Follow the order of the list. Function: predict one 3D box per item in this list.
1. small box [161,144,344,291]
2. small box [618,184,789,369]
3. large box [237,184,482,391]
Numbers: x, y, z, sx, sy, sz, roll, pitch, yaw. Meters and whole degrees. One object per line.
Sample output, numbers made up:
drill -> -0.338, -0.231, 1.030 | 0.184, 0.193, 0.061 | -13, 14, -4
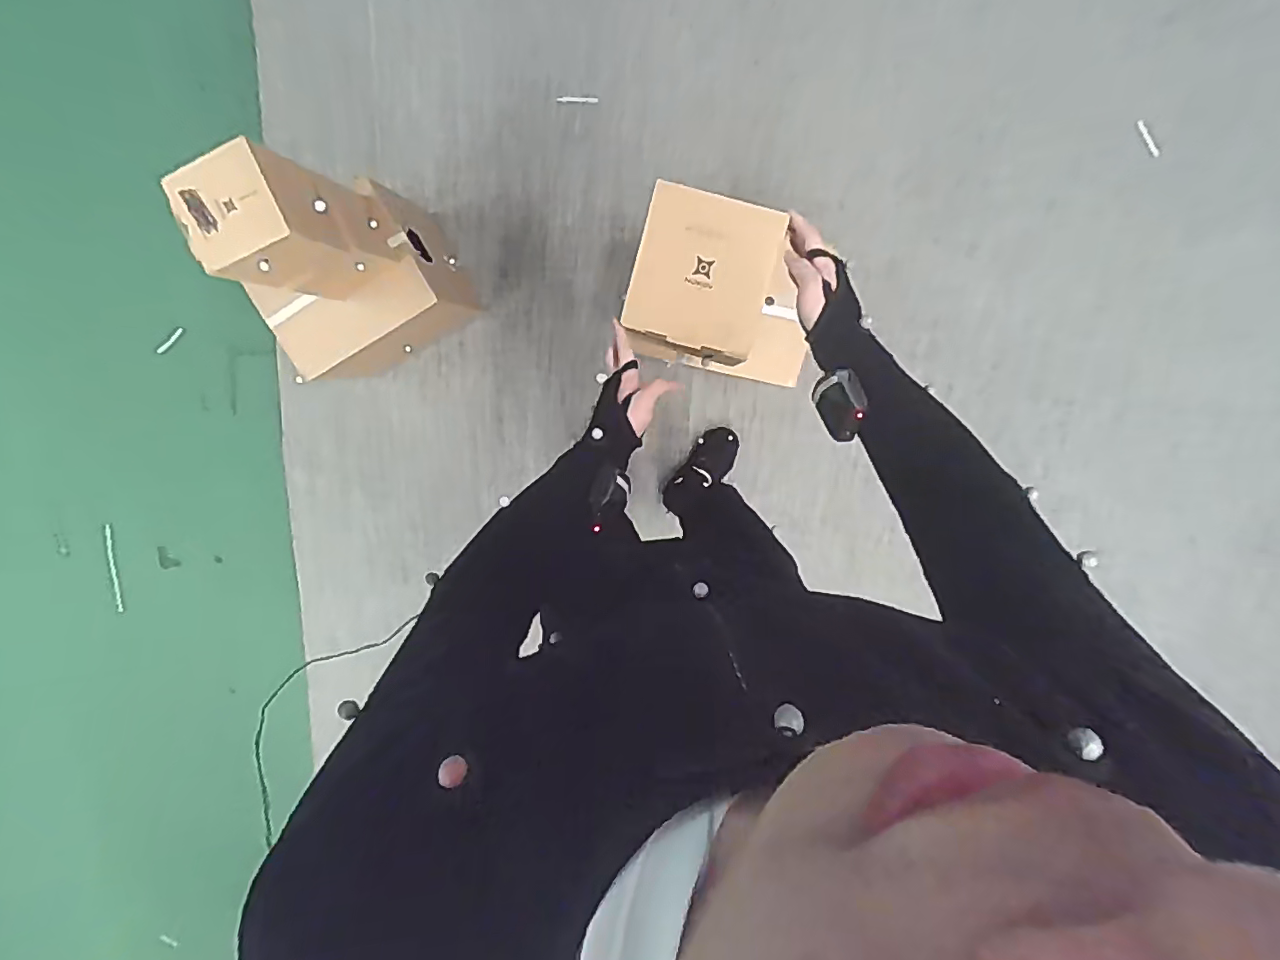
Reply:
small box -> -0.690, -0.461, 0.983 | 0.179, 0.176, 0.168 | -21, 99, 8
small box -> 0.079, -0.254, 0.725 | 0.168, 0.176, 0.179 | 17, 99, 0
large box -> -0.698, -0.471, 1.401 | 0.408, 0.320, 0.320 | -27, 97, 11
